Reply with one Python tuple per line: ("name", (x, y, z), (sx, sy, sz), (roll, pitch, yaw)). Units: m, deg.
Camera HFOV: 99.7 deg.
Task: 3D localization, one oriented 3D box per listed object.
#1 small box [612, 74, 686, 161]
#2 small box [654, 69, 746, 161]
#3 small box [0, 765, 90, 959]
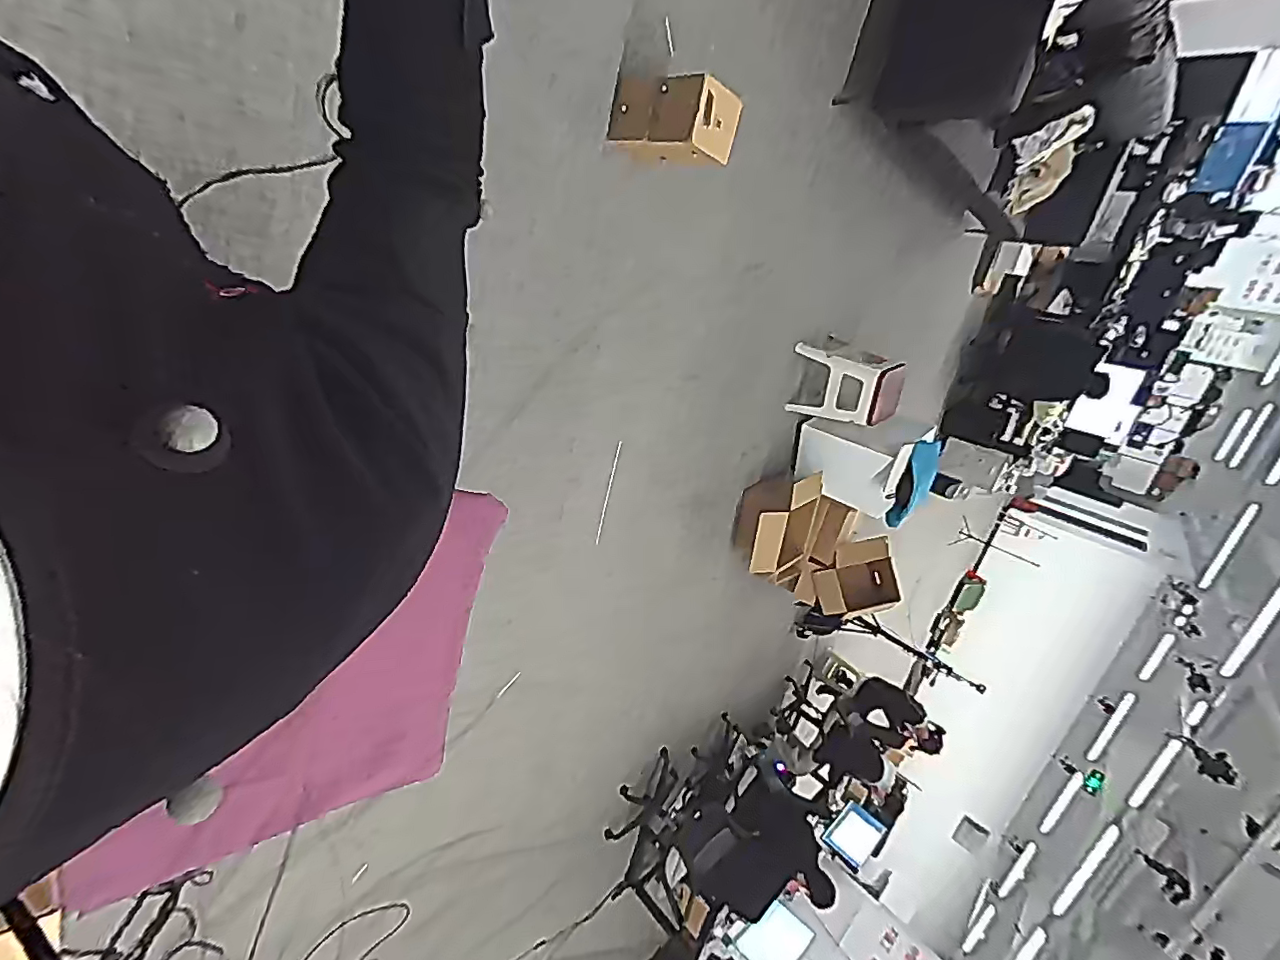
("small box", (0.047, -1.081, 1.620), (0.179, 0.176, 0.168), (-4, 115, -46))
("small box", (0.164, -1.017, 1.523), (0.179, 0.176, 0.168), (-6, 117, -47))
("small box", (-0.567, 0.368, 0.427), (0.179, 0.176, 0.168), (1, 113, -48))
